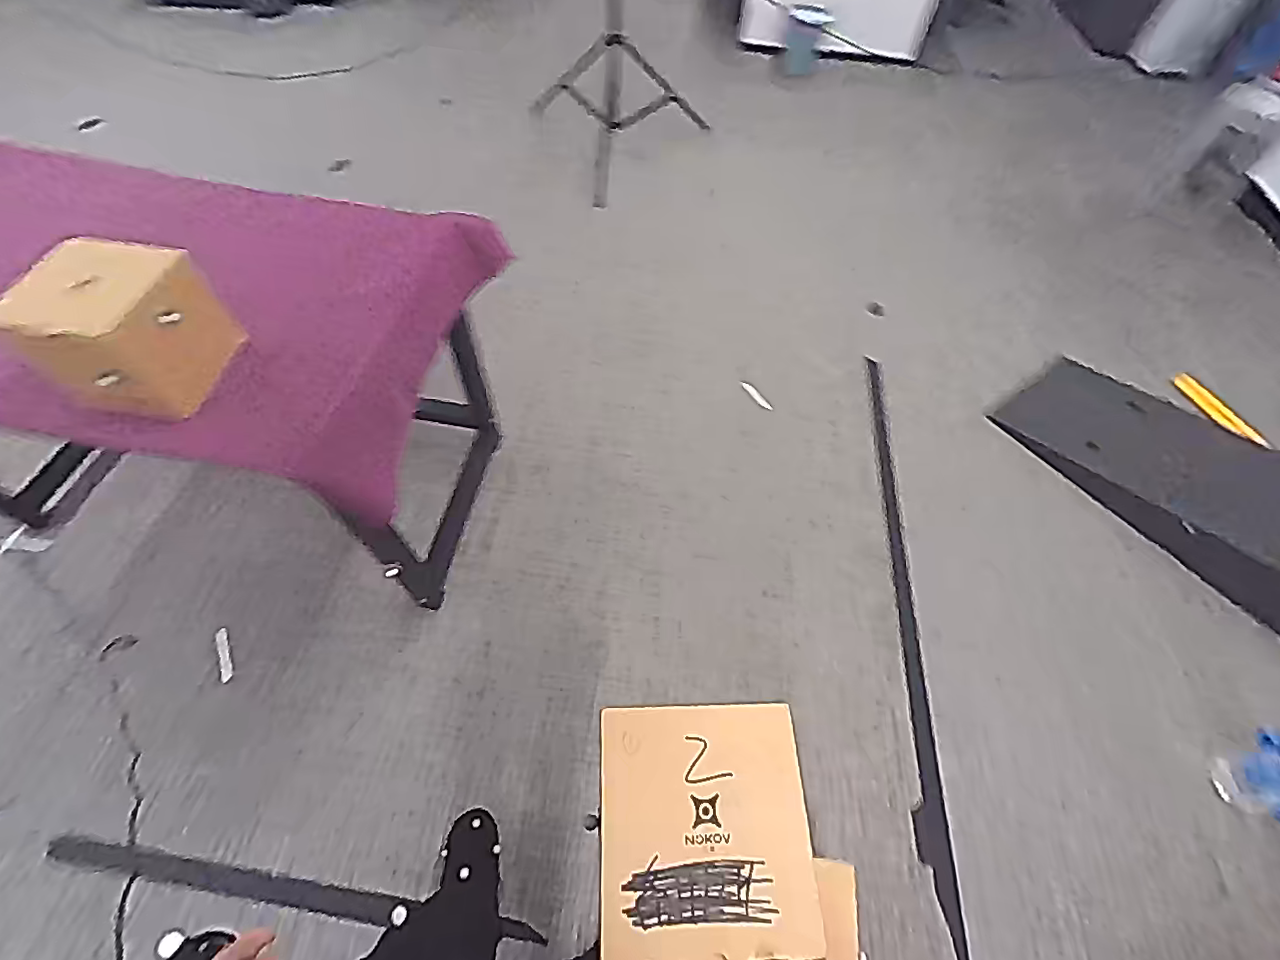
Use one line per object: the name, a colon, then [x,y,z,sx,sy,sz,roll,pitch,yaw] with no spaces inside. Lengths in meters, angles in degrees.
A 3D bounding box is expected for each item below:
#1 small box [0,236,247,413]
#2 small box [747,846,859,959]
small box: [-0.724,-0.218,0.781,0.168,0.176,0.179,8,58,1]
small box: [0.307,0.825,1.044,0.168,0.176,0.179,9,59,3]
